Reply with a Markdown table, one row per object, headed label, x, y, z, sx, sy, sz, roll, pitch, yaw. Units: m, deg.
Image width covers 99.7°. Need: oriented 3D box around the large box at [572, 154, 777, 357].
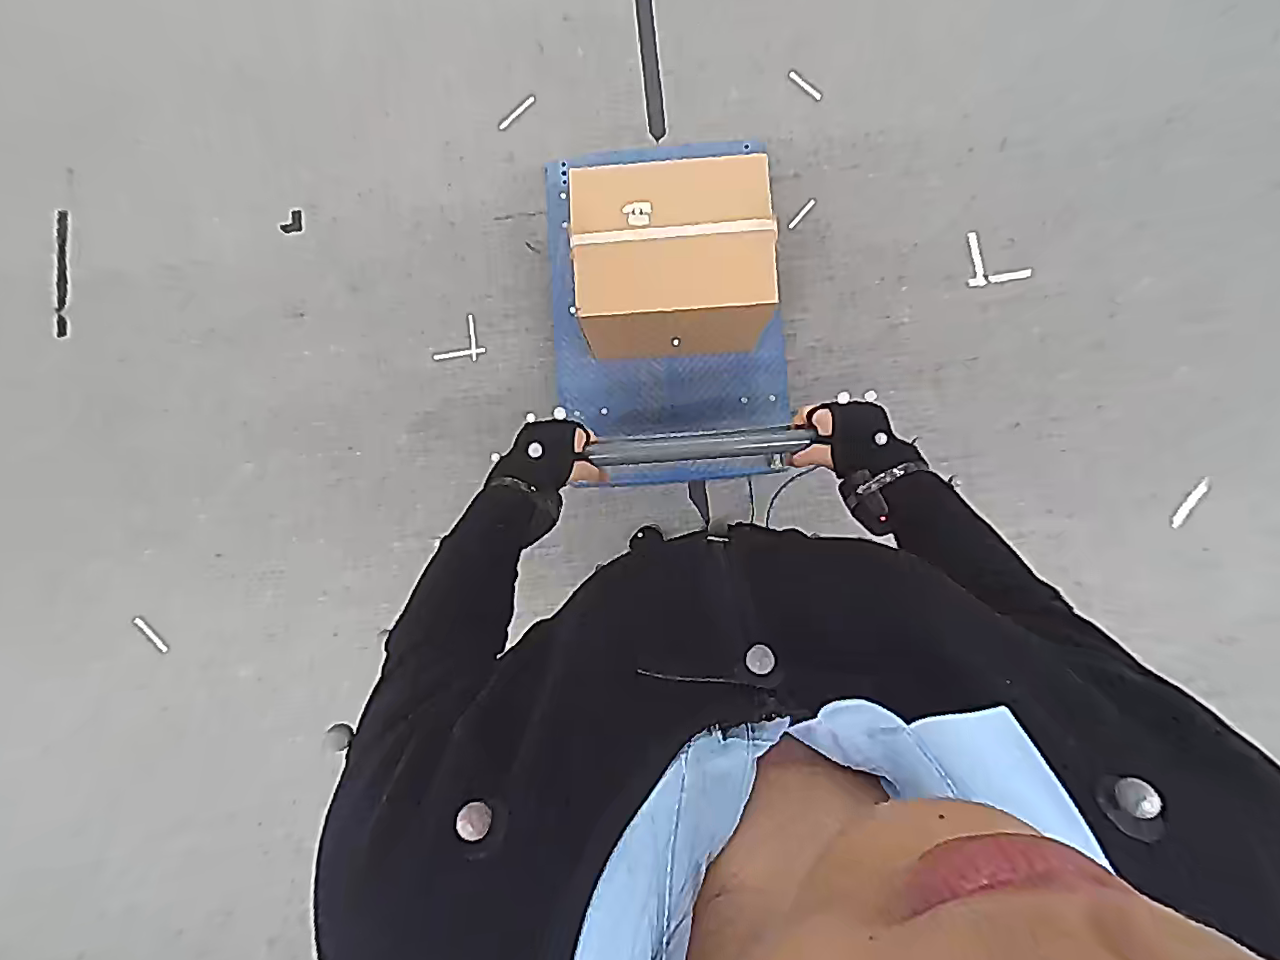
| label | x | y | z | sx | sy | sz | roll | pitch | yaw |
| --- | --- | --- | --- | --- | --- | --- | --- | --- | --- |
| large box | 0.077 | -0.489 | 1.250 | 0.408 | 0.320 | 0.320 | -4 | 85 | 3 |
